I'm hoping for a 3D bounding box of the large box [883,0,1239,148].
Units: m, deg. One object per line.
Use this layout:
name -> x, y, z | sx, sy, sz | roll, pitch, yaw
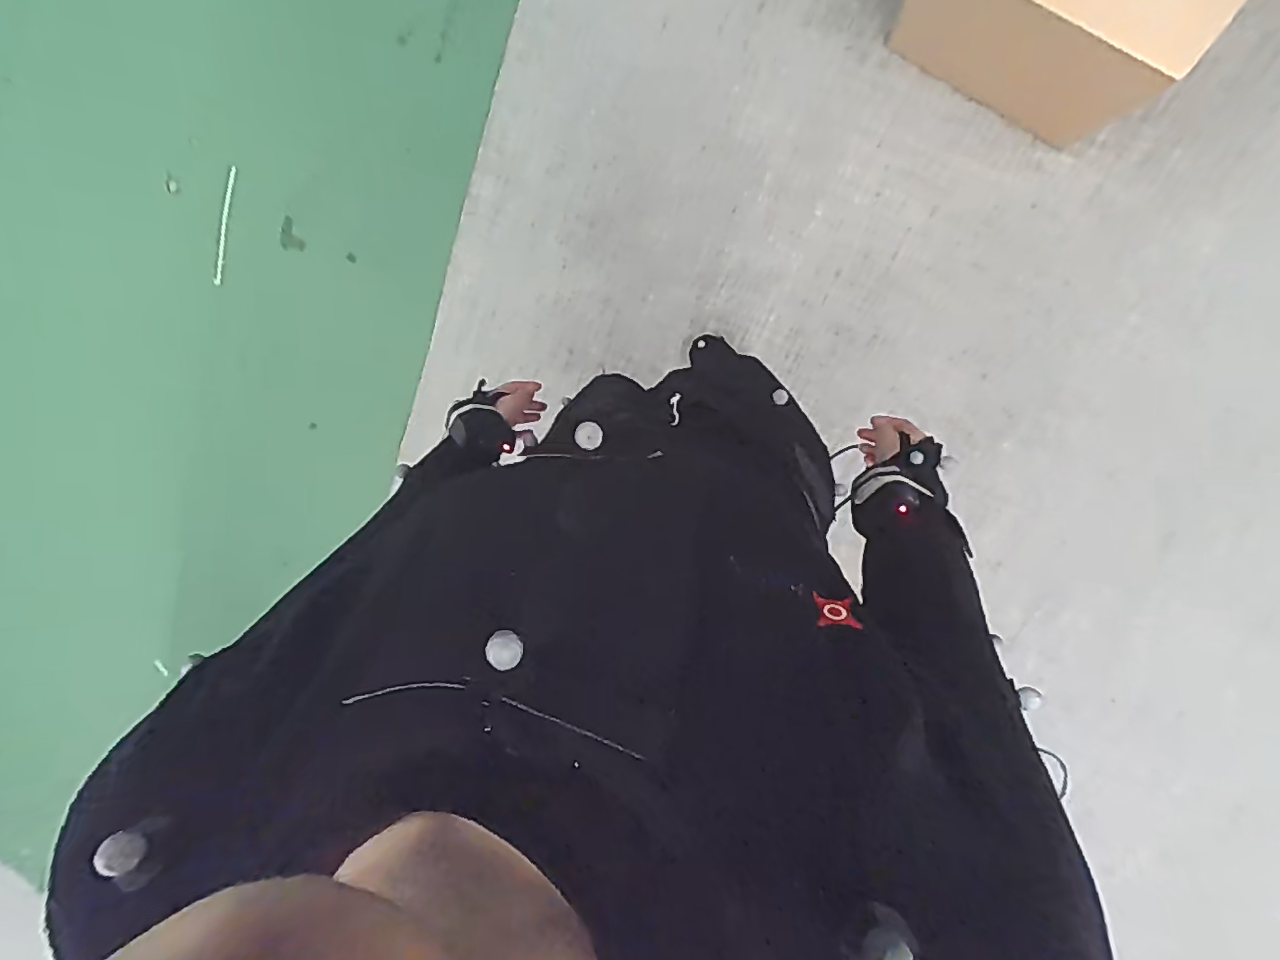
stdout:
large box -> 0.679, -0.816, 0.855 | 0.408, 0.320, 0.320 | 31, 110, 2
